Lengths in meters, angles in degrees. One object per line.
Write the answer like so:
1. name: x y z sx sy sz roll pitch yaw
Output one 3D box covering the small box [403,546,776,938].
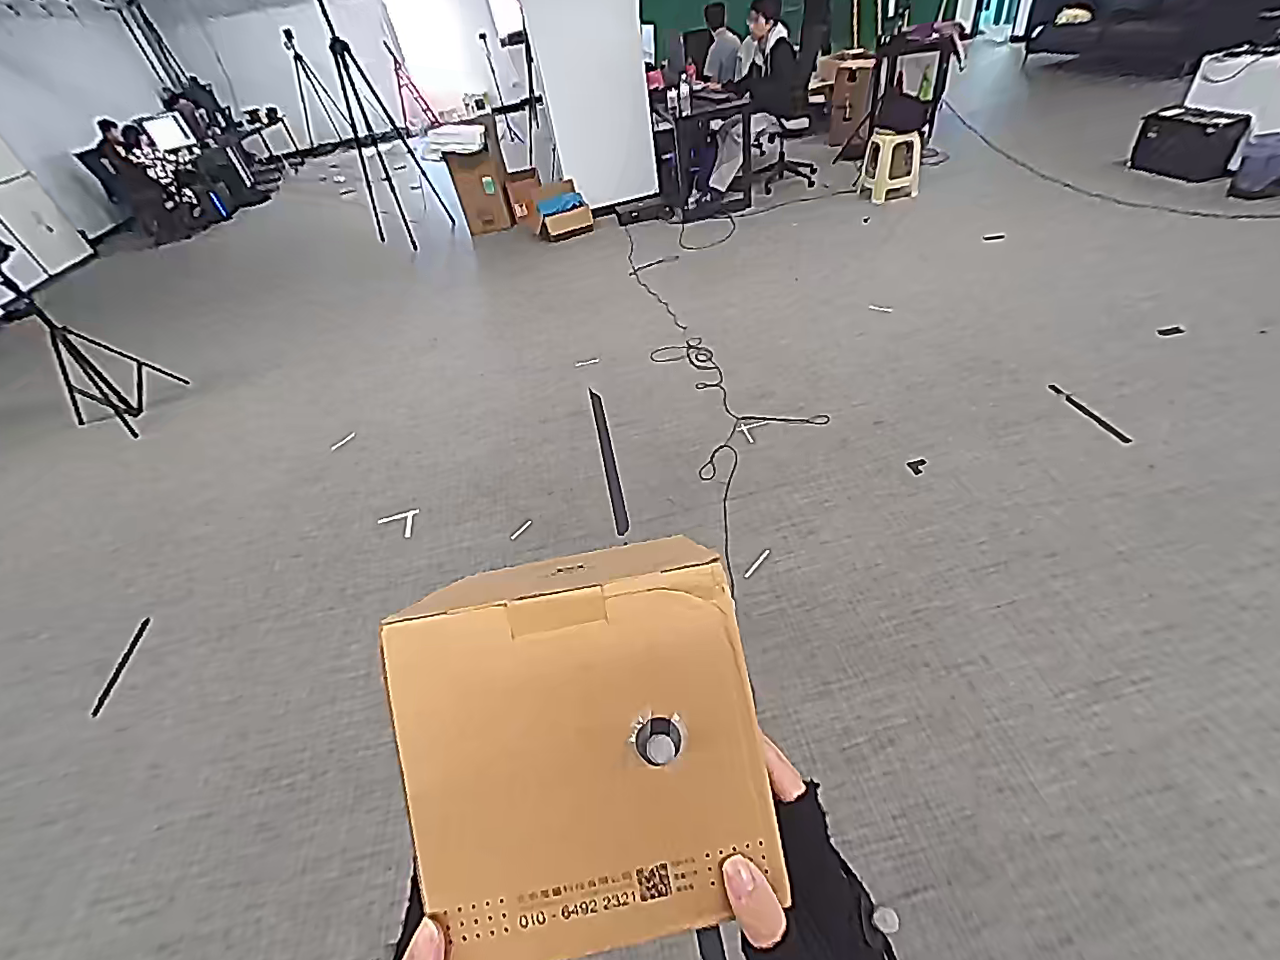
1. small box: -0.024 0.147 0.348 0.168 0.176 0.179 -10 -3 -2
